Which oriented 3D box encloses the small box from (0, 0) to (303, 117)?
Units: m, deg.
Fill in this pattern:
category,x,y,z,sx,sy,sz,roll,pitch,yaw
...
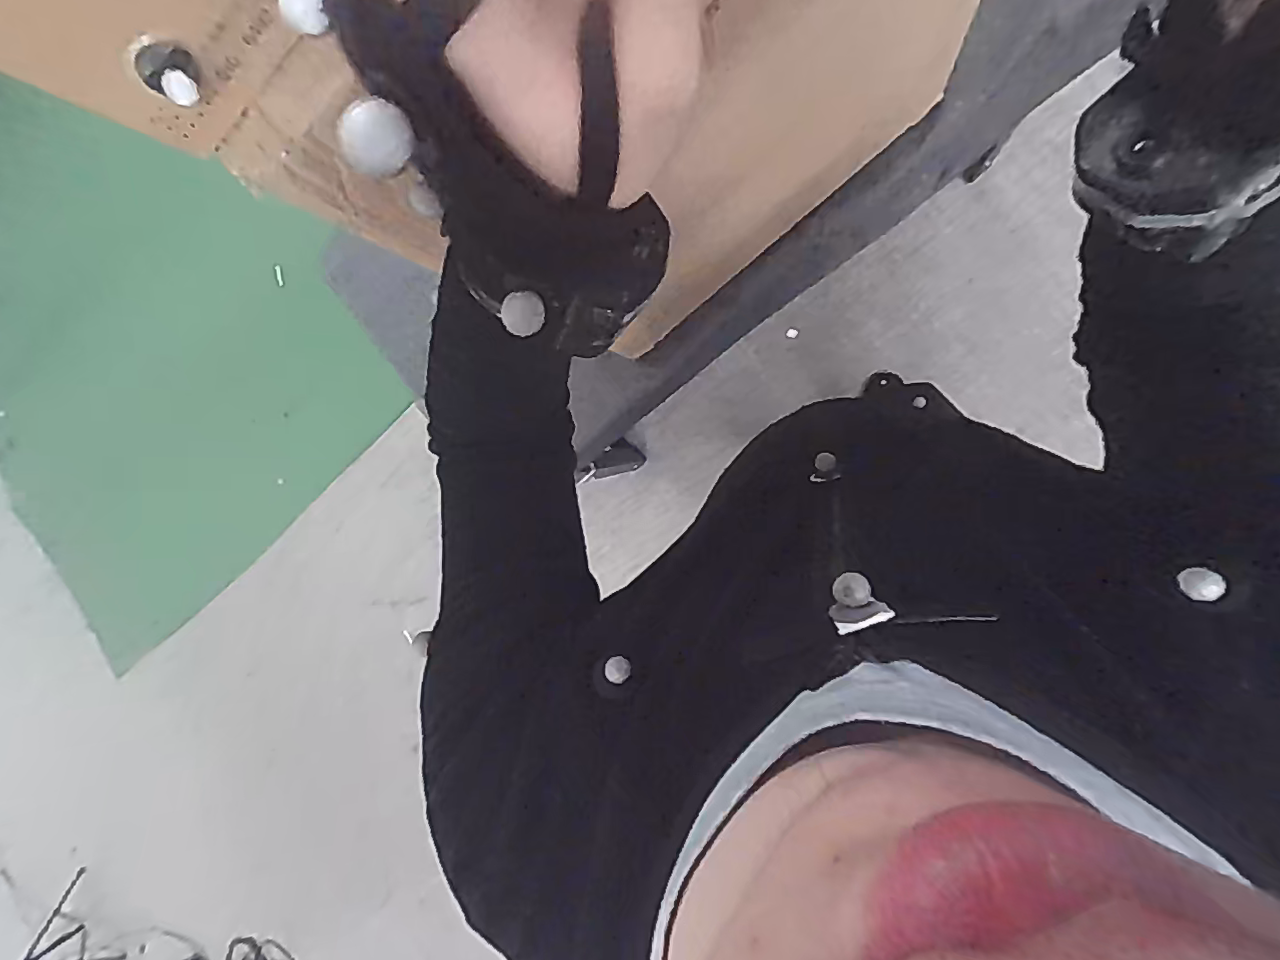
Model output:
category,x,y,z,sx,sy,sz,roll,pitch,yaw
small box,-0.215,-0.257,0.163,0.168,0.176,0.179,-34,84,18
